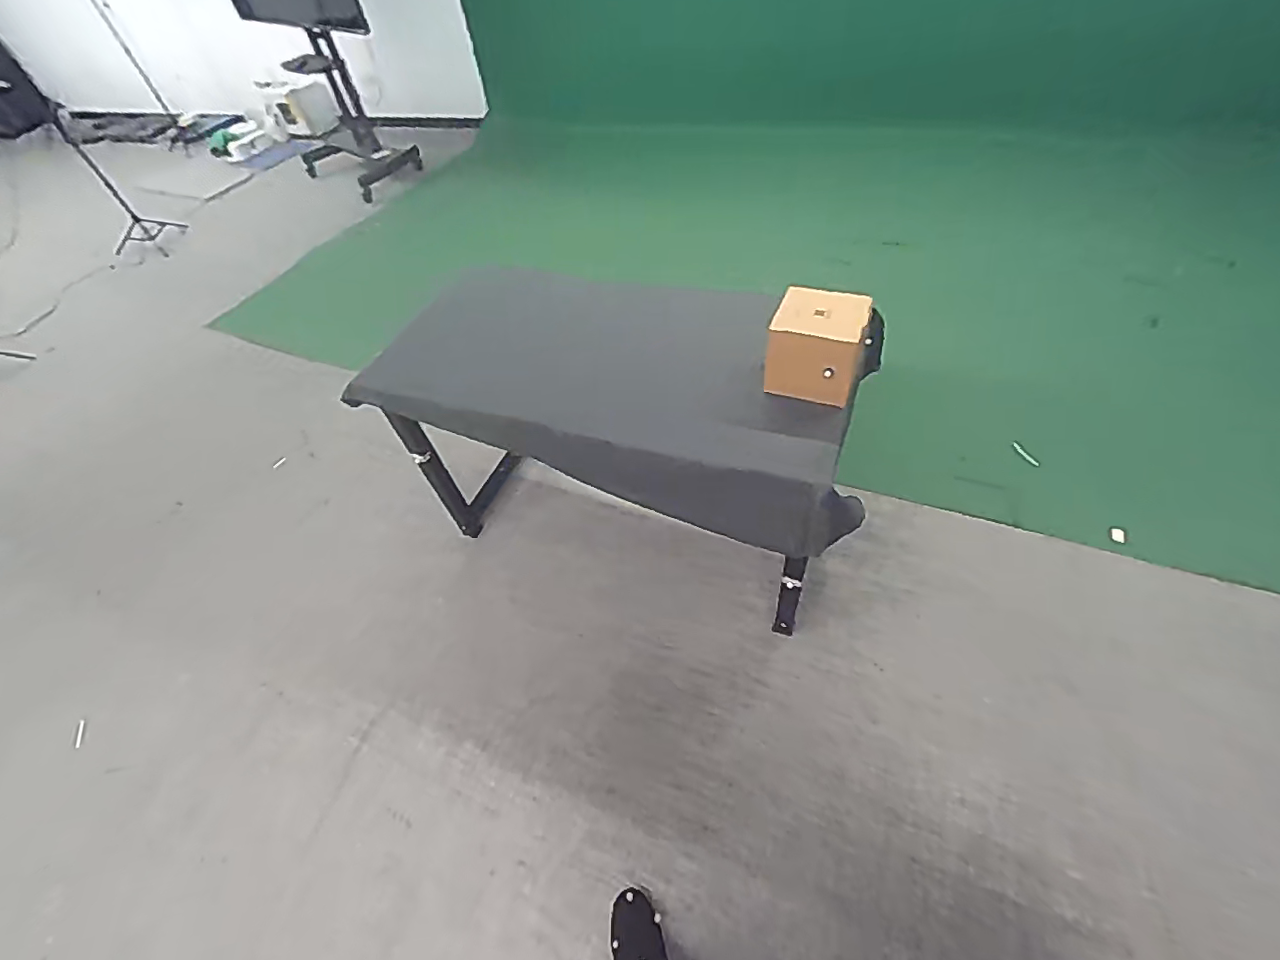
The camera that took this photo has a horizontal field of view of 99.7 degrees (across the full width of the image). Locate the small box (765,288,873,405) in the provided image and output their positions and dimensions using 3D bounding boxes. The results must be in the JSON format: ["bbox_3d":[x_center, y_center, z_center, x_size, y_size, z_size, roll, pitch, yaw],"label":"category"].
[{"bbox_3d":[0.375,-0.282,1.150,0.179,0.176,0.168,15,53,22],"label":"small box"}]
